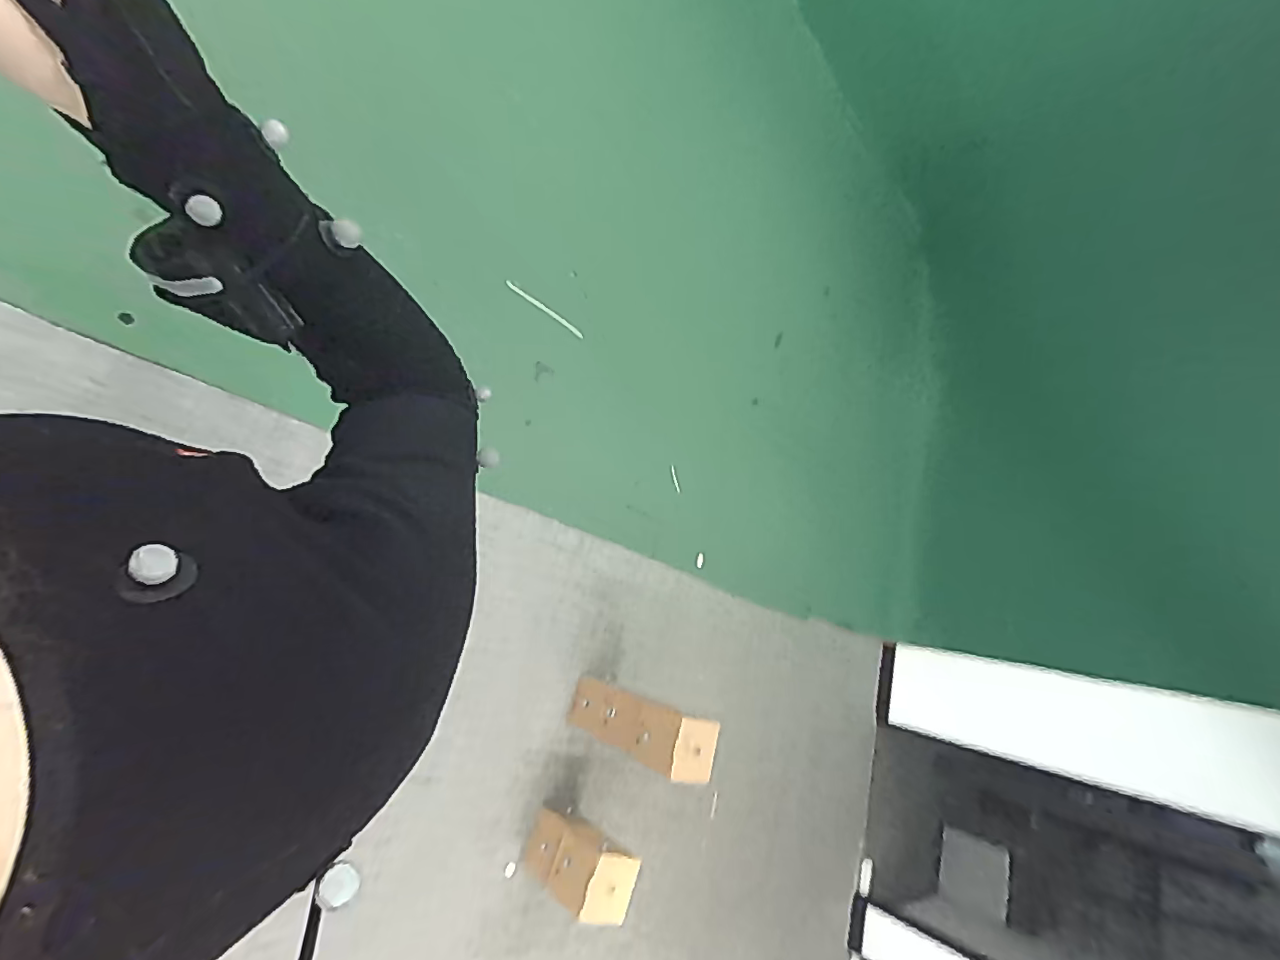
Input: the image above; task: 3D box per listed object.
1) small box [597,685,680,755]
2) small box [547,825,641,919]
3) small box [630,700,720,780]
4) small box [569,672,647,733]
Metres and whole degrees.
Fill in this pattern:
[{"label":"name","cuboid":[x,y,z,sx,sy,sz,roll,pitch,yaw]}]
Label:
[{"label":"small box","cuboid":[-0.005,0.756,1.698,0.179,0.176,0.168,28,69,-37]},{"label":"small box","cuboid":[-0.135,1.133,1.569,0.179,0.176,0.168,36,66,-34]},{"label":"small box","cuboid":[0.102,0.753,1.573,0.179,0.176,0.168,29,68,-38]},{"label":"small box","cuboid":[-0.111,0.759,1.821,0.179,0.176,0.168,32,68,-36]}]
